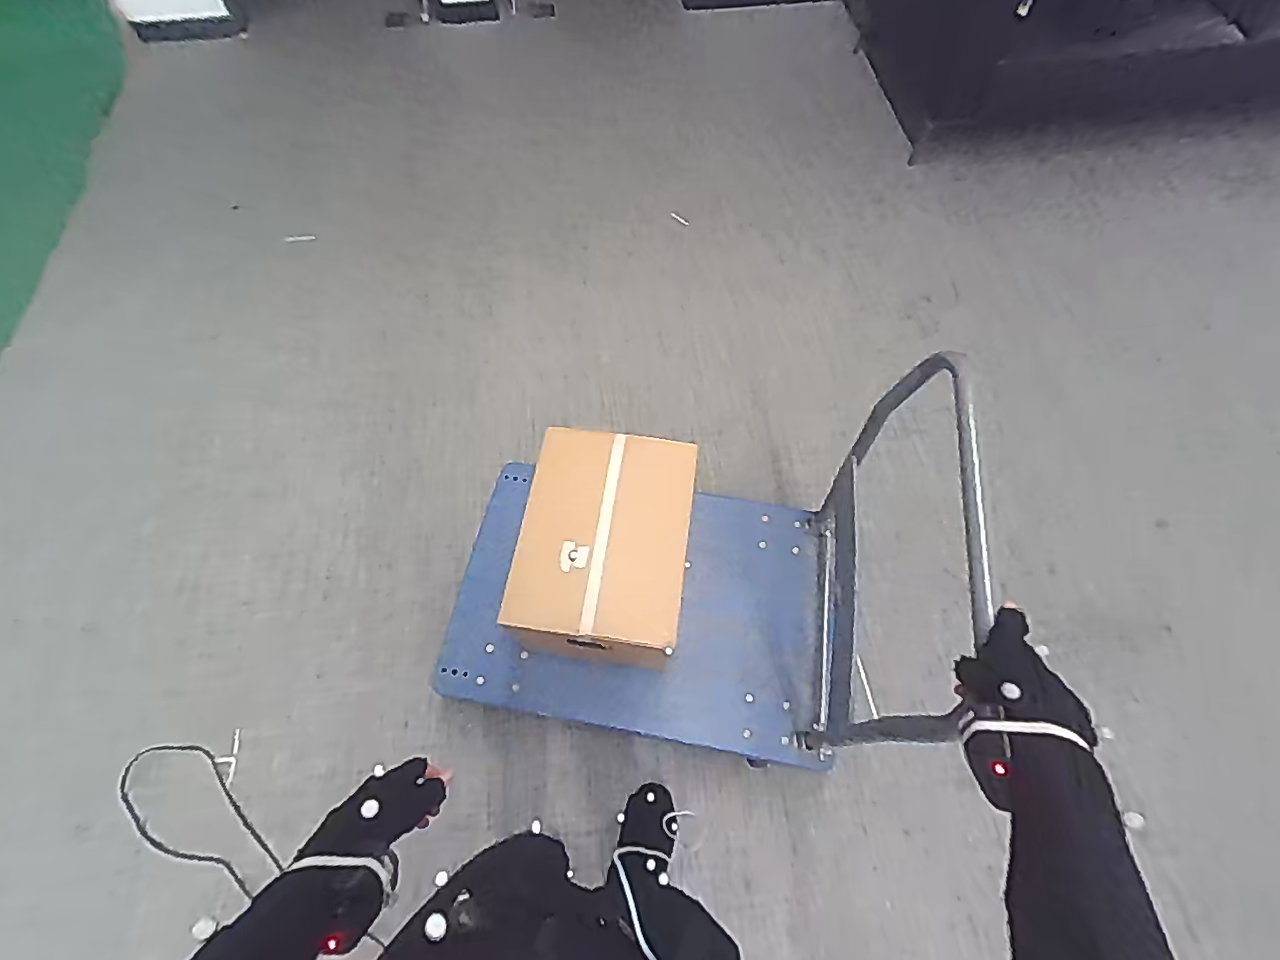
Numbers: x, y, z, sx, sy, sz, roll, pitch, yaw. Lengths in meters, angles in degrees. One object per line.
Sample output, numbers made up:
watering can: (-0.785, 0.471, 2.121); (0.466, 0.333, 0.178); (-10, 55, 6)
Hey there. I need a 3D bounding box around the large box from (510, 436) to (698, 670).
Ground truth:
large box: (-0.057, 0.164, 1.151); (0.320, 0.320, 0.408); (6, 65, 3)
